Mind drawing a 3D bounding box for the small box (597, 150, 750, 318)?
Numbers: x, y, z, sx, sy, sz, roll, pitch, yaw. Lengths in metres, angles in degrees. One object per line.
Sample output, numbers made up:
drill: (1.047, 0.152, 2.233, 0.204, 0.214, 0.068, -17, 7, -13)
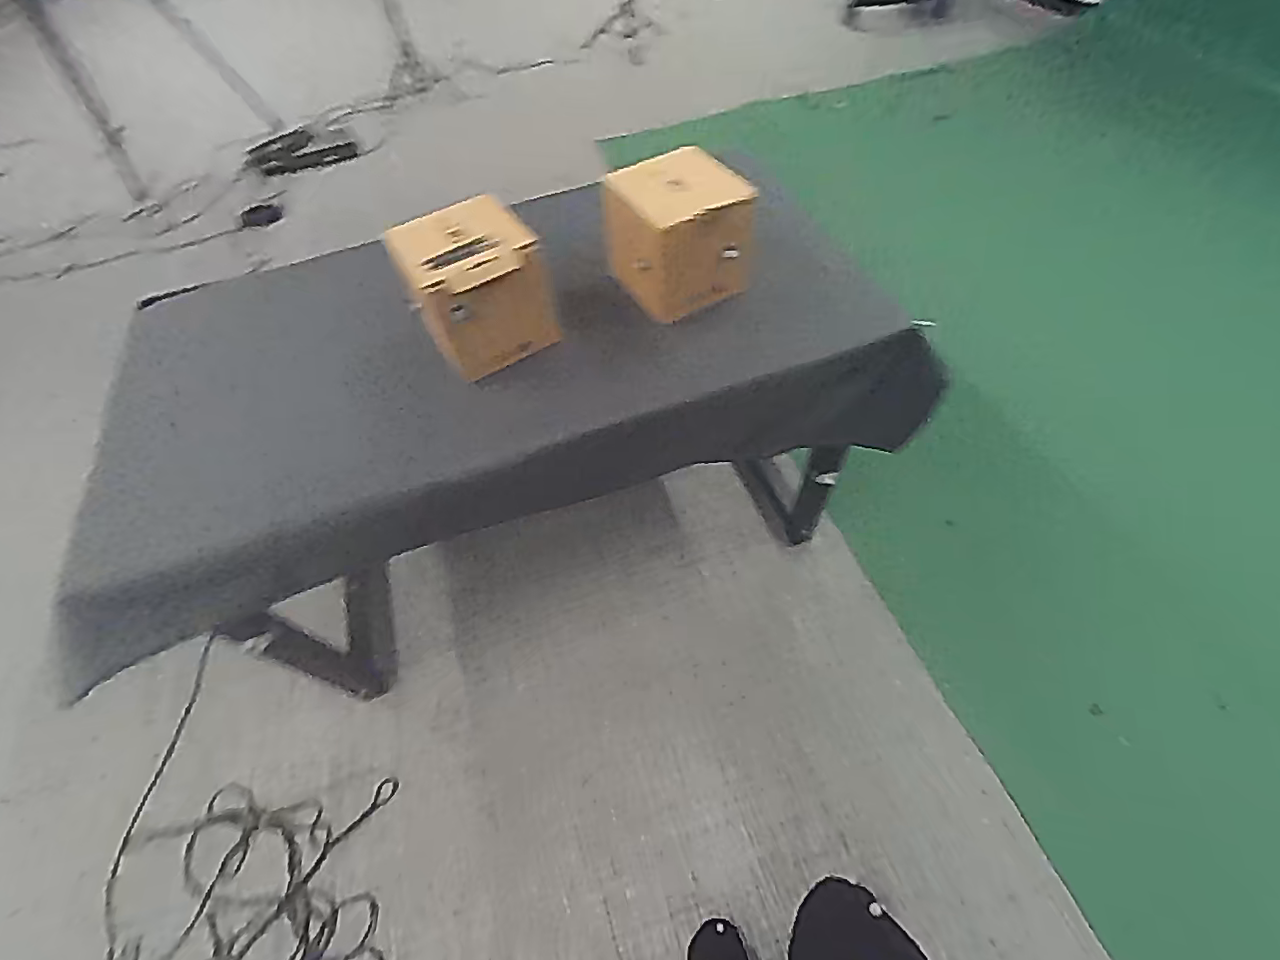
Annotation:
small box: (0.052, -0.381, 0.859, 0.168, 0.176, 0.179, -28, 57, -15)
